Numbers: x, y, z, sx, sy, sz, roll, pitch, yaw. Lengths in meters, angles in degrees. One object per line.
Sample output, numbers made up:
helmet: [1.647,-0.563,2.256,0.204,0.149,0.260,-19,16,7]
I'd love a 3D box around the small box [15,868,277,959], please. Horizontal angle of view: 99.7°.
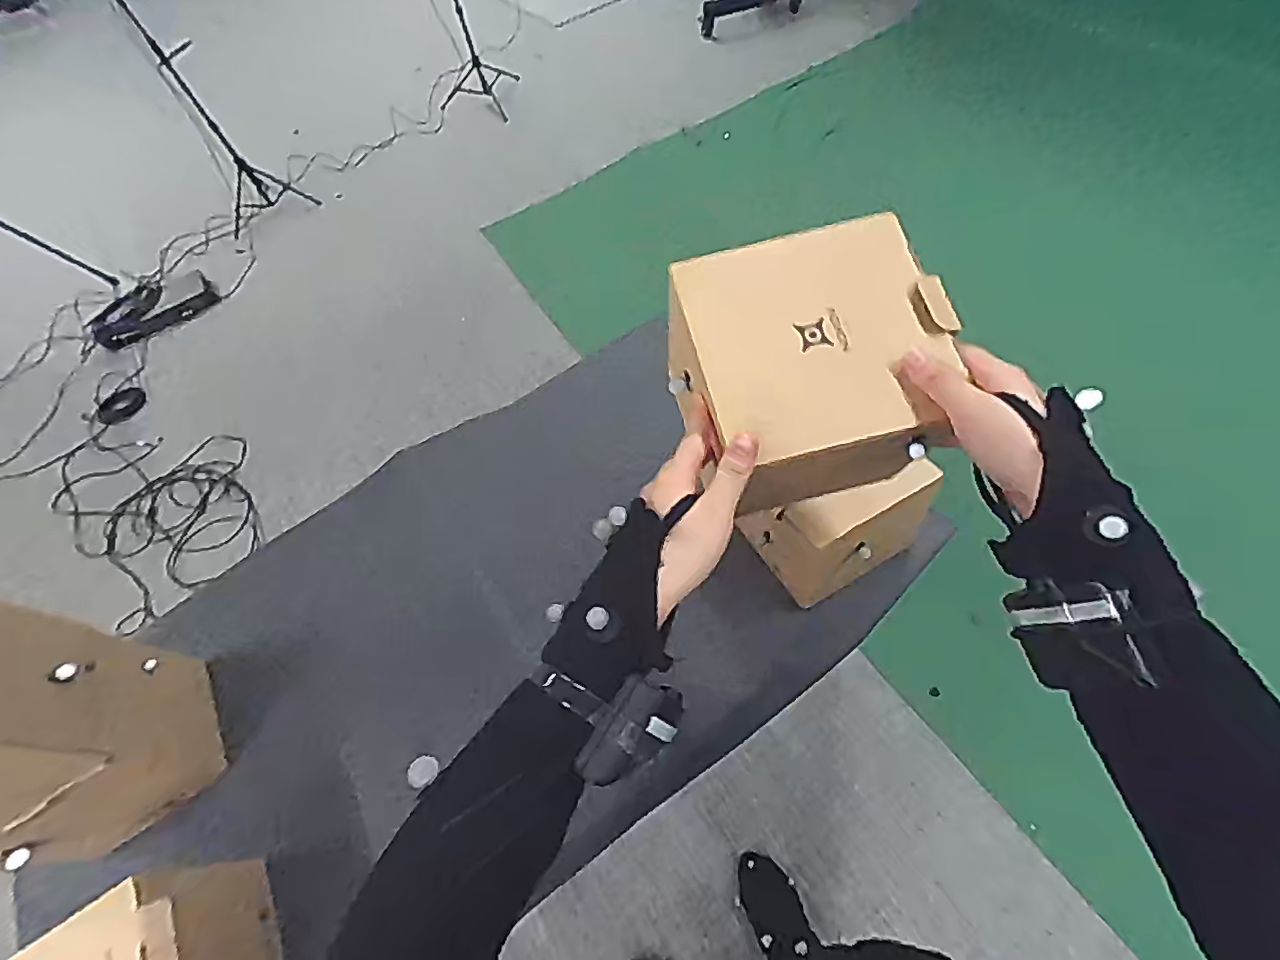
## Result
small box: [-0.477,0.507,0.511,0.179,0.176,0.168,-33,60,-11]

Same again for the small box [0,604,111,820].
small box: [-0.667,0.235,0.508,0.179,0.176,0.168,-33,61,-12]

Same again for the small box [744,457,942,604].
small box: [0.235,0.028,0.685,0.179,0.176,0.168,-29,55,-8]

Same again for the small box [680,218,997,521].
small box: [0.136,-0.074,0.449,0.179,0.176,0.168,-14,73,-2]
